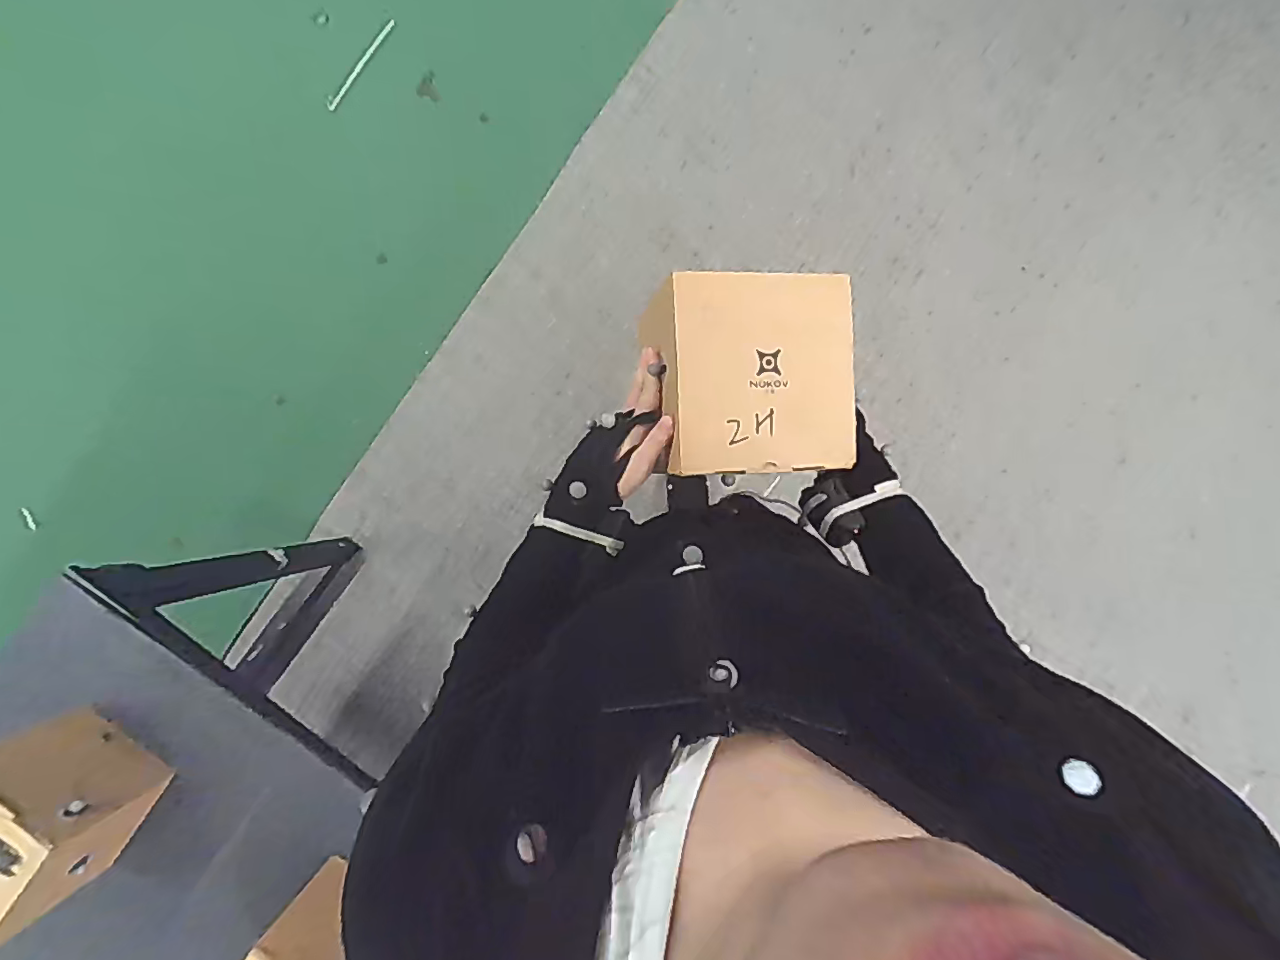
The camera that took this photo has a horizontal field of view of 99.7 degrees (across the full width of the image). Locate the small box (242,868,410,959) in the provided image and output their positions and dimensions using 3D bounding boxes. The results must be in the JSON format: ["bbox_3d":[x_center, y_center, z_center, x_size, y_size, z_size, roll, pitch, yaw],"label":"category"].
[{"bbox_3d":[-0.429,0.659,0.685,0.168,0.176,0.179,35,89,1],"label":"small box"}]

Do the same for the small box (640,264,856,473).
[{"bbox_3d":[0.095,-0.097,0.545,0.168,0.176,0.179,-3,92,-10],"label":"small box"}]
